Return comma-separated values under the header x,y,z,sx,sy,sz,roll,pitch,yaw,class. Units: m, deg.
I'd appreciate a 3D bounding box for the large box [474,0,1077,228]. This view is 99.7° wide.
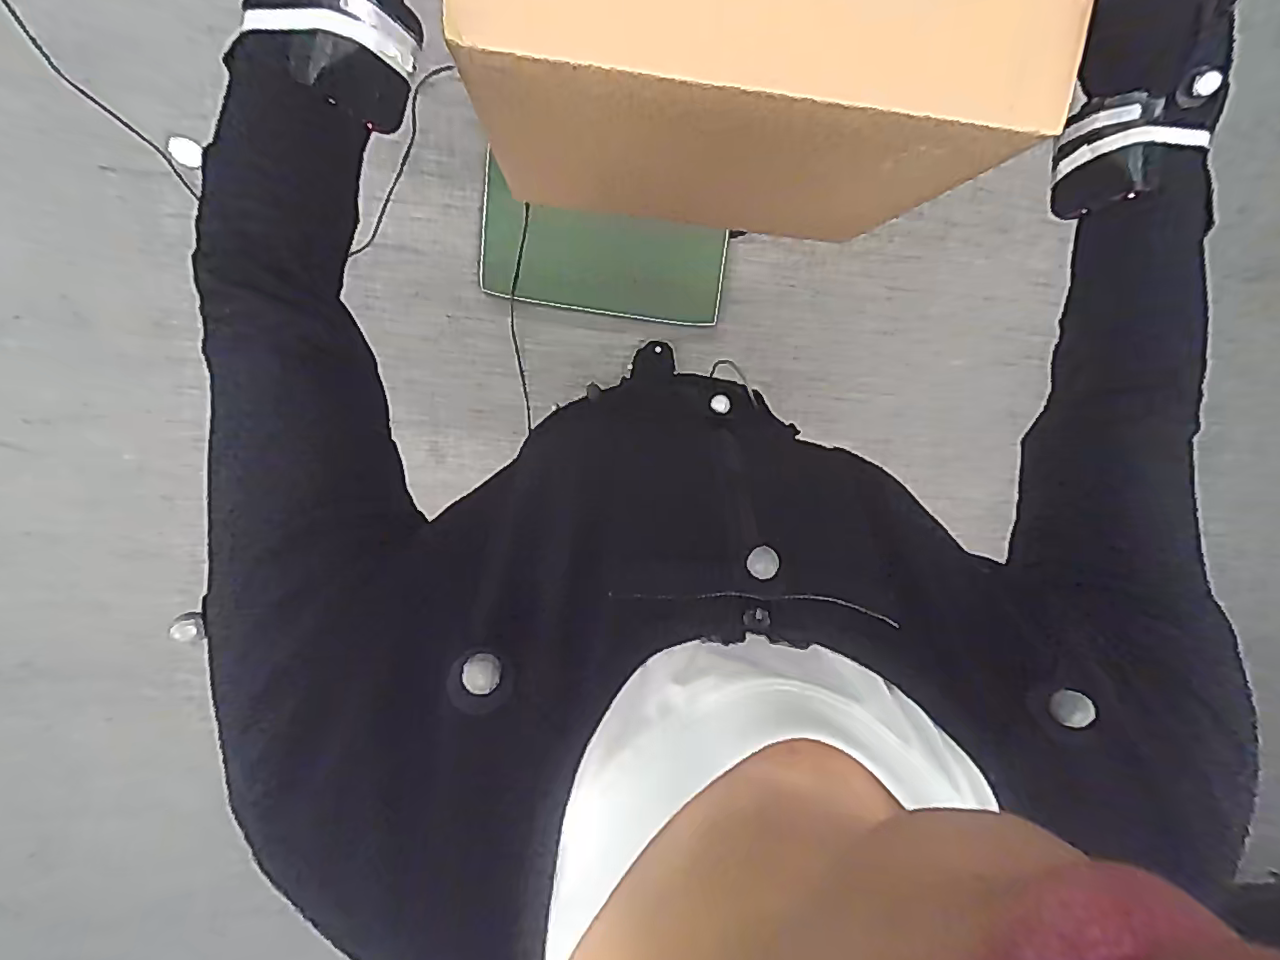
x,y,z,sx,sy,sz,roll,pitch,yaw,class
0.085,-0.437,0.471,0.408,0.320,0.320,3,102,-7,large box
